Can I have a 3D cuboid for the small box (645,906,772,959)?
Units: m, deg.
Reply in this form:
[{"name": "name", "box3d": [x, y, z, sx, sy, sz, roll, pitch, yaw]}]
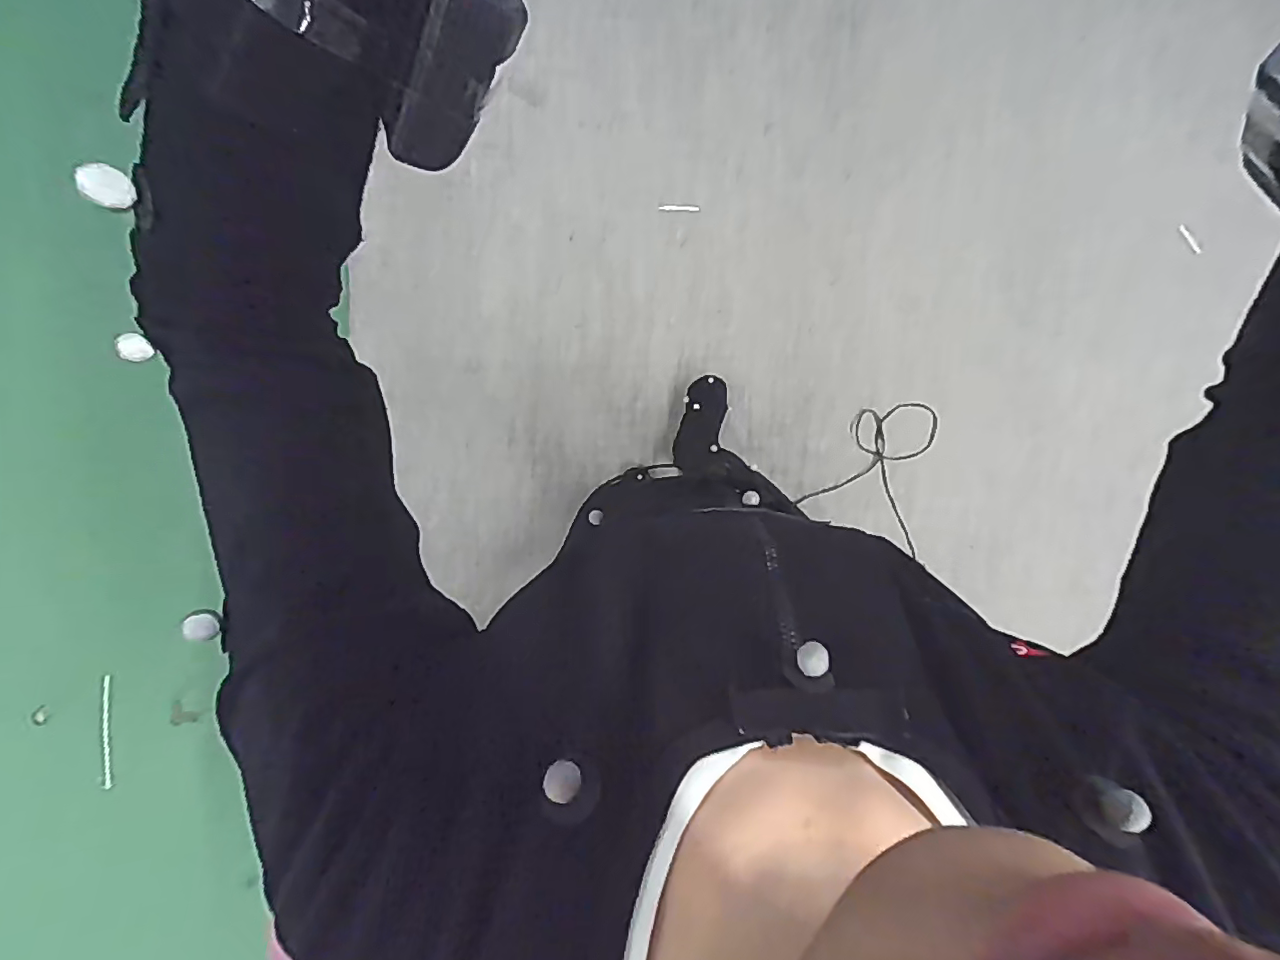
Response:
[{"name": "small box", "box3d": [0.090, 0.708, 0.699, 0.168, 0.176, 0.179, 6, 92, -2]}]
